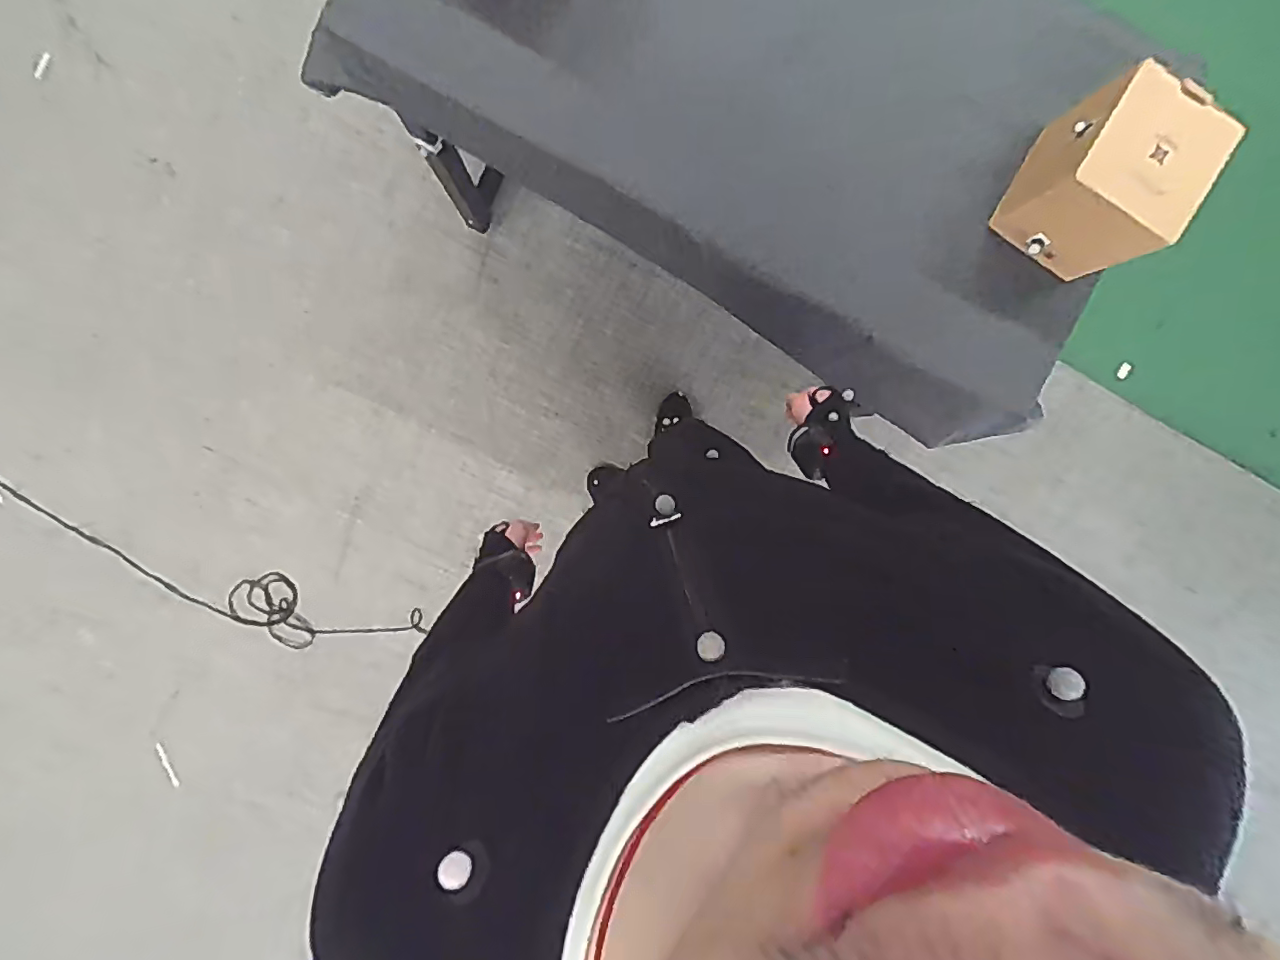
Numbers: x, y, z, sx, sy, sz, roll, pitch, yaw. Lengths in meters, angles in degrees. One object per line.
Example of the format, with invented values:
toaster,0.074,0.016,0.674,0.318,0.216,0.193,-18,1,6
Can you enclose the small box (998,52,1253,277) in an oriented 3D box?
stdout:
small box,0.656,-0.421,0.756,0.168,0.176,0.179,33,92,-4
